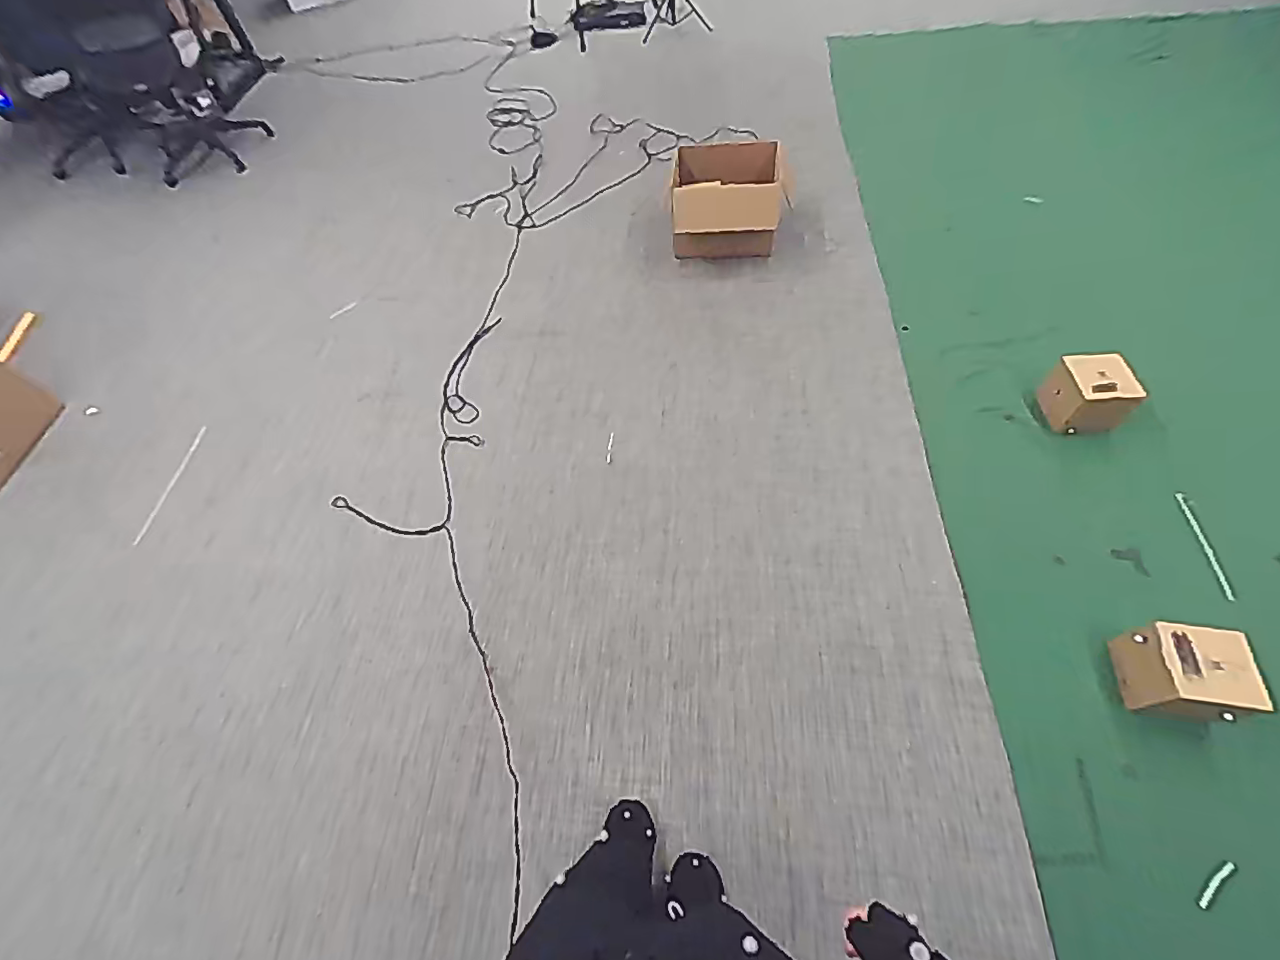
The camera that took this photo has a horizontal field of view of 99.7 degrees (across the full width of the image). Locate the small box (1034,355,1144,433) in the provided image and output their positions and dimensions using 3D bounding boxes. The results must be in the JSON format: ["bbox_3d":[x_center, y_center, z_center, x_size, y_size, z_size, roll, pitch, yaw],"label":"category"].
[{"bbox_3d":[1.349,-0.254,1.640,0.168,0.176,0.179,-1,56,5],"label":"small box"}]
